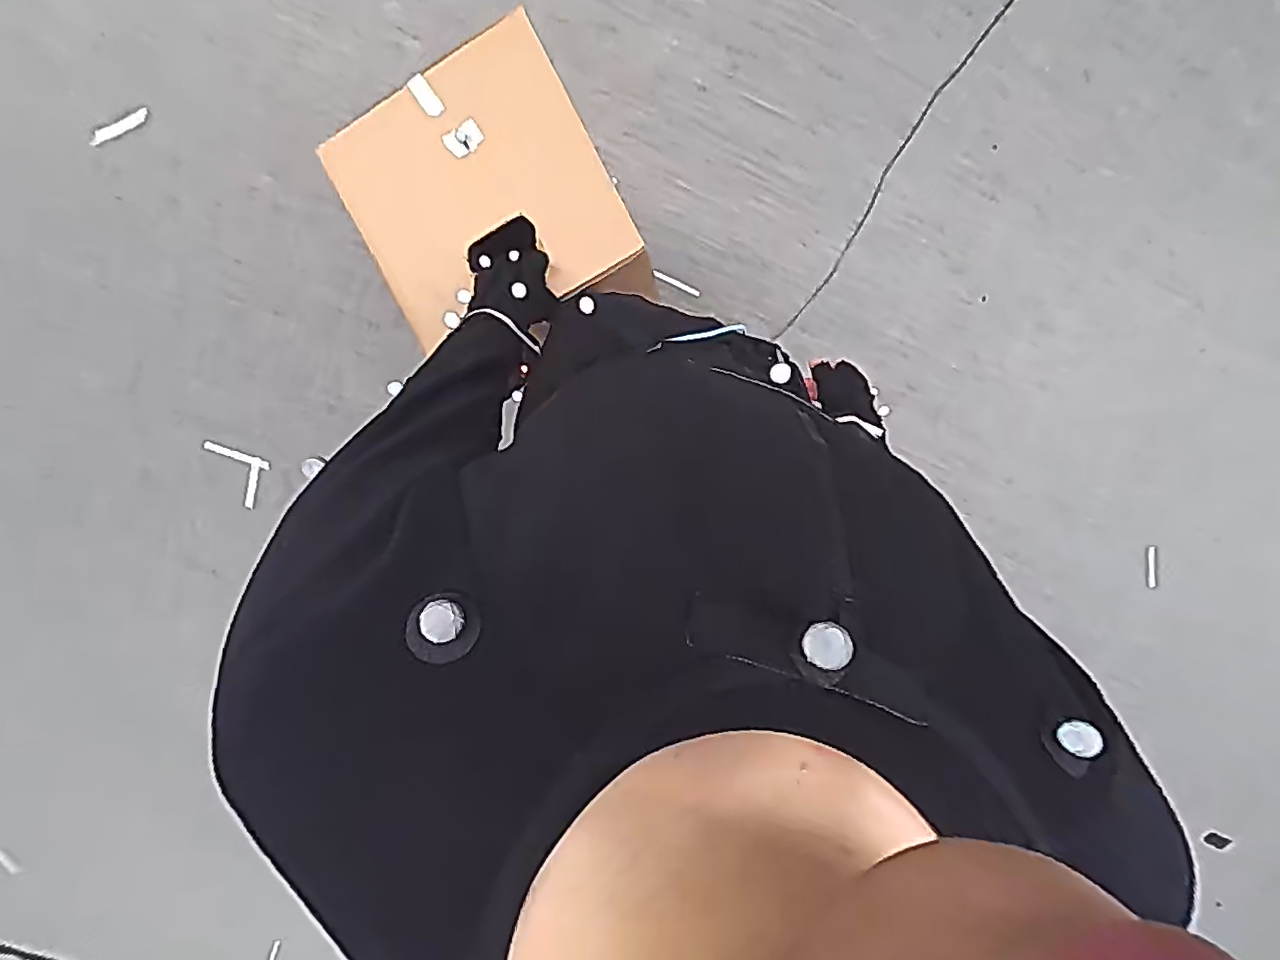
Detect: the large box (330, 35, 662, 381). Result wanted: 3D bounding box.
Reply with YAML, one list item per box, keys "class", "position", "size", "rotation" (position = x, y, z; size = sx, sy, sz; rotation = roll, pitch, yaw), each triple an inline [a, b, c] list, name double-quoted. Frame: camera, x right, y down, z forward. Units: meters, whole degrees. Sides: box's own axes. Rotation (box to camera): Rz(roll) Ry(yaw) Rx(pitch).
- class: "large box"
  position: [-0.181, -0.370, 0.869]
  size: [0.320, 0.408, 0.320]
  rotation: [-27, 96, 9]
